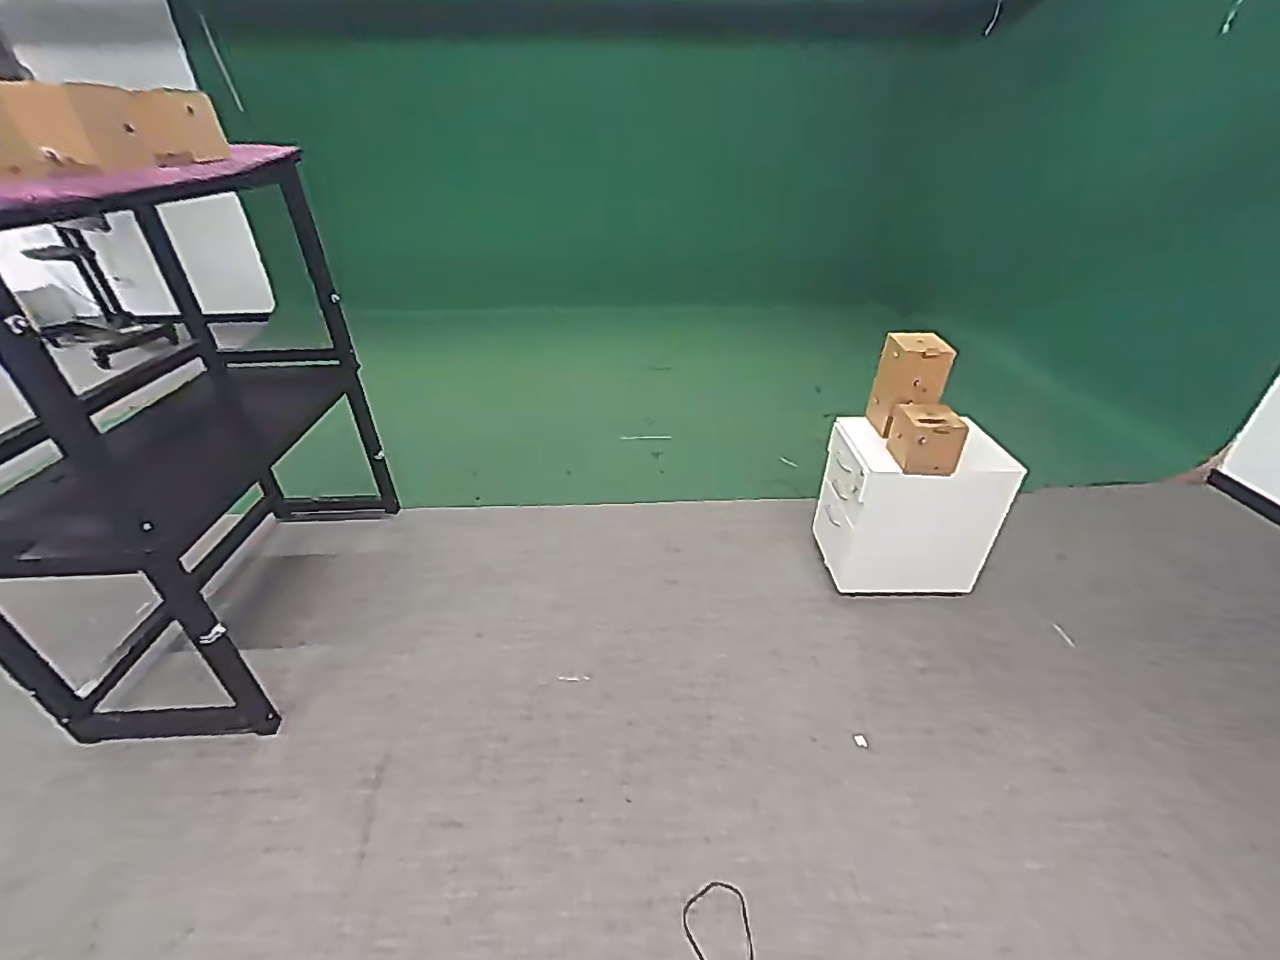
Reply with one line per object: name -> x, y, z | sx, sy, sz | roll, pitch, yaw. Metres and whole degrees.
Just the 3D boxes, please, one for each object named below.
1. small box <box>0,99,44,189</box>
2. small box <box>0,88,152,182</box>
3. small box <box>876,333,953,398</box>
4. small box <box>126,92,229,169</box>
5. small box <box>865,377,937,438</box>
small box -> -1.242, -0.604, 0.950 | 0.179, 0.176, 0.168 | -2, 32, -3
small box -> -1.264, -0.777, 1.220 | 0.168, 0.176, 0.179 | -3, 34, -2
small box -> 0.948, -0.403, 1.890 | 0.168, 0.176, 0.179 | 0, 36, 1
small box -> -1.304, -0.971, 1.507 | 0.168, 0.176, 0.179 | -3, 34, 1
small box -> 0.947, -0.267, 1.982 | 0.168, 0.176, 0.179 | -1, 34, -1
